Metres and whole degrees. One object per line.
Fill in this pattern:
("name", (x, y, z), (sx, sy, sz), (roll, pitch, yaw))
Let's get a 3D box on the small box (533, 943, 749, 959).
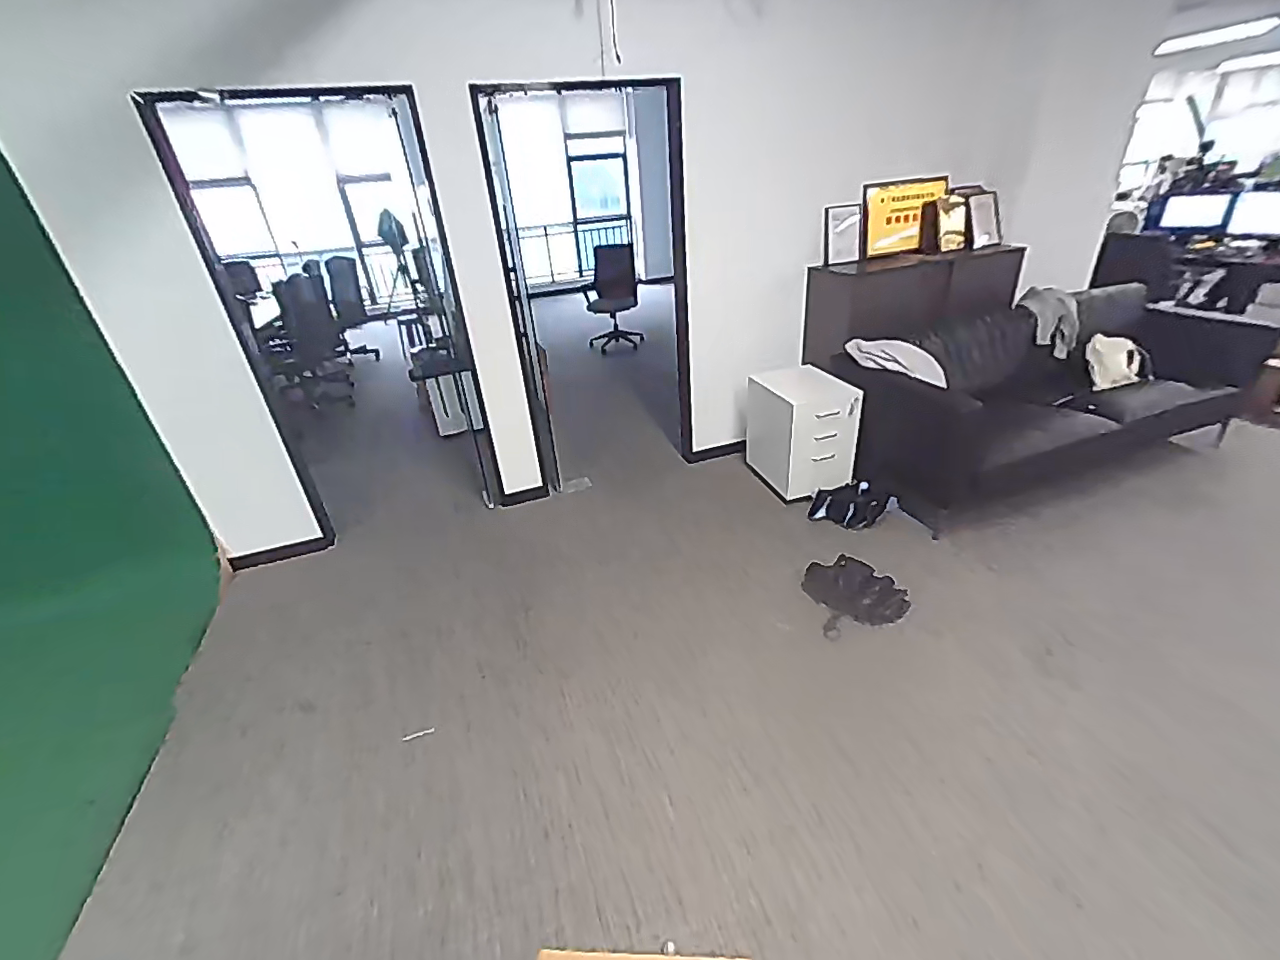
("small box", (0.004, 0.460, 0.372), (0.168, 0.176, 0.179), (-2, 34, 5))
